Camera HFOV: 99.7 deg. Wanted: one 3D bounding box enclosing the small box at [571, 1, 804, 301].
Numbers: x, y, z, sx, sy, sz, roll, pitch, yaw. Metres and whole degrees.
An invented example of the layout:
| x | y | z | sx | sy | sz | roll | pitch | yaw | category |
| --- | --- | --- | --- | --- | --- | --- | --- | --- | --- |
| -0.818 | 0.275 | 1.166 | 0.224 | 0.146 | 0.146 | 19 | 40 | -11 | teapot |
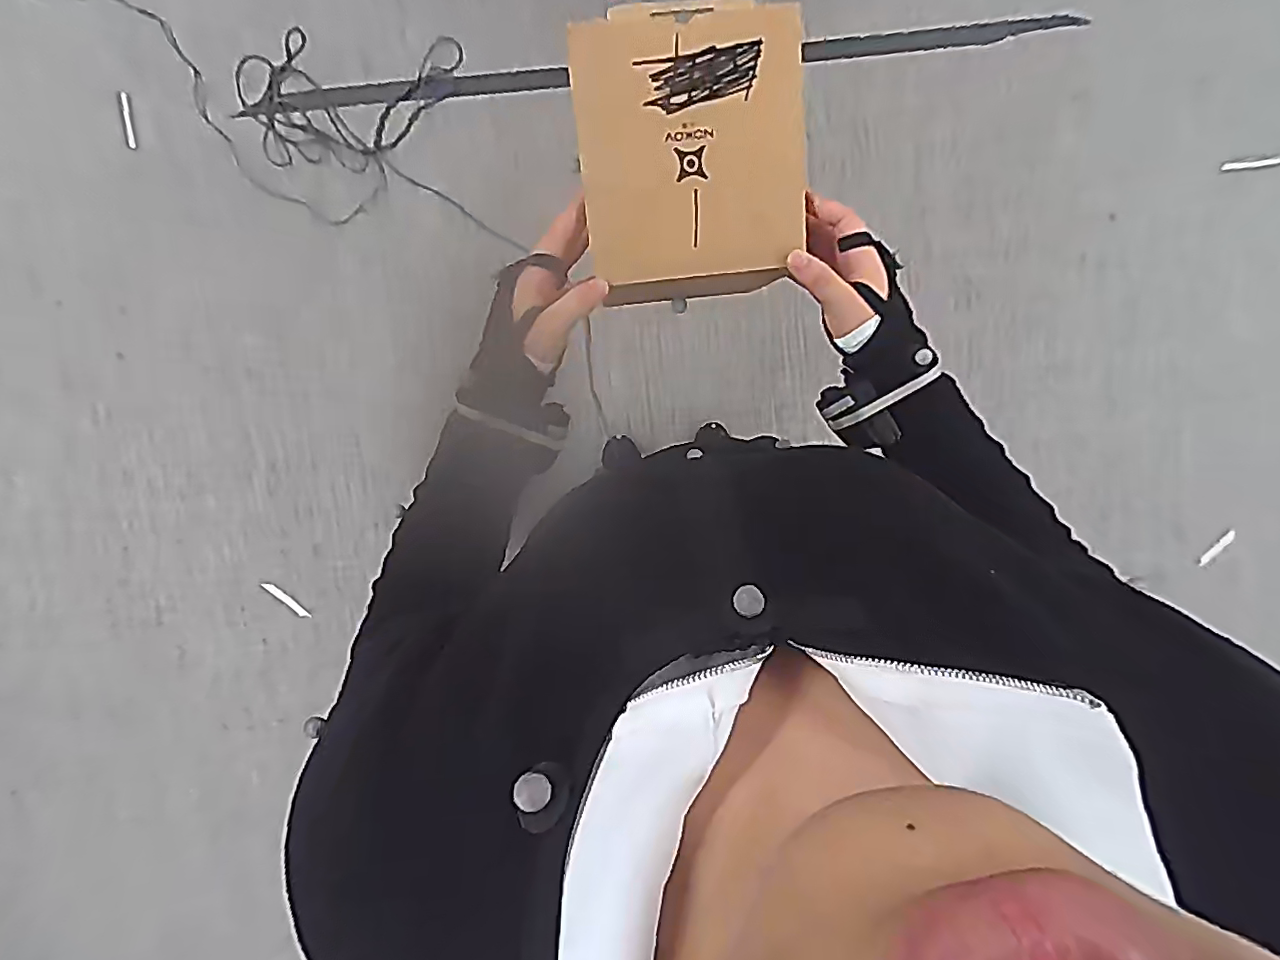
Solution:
| x | y | z | sx | sy | sz | roll | pitch | yaw | category |
| --- | --- | --- | --- | --- | --- | --- | --- | --- | --- |
| 0.035 | -0.264 | 0.477 | 0.168 | 0.176 | 0.179 | -6 | 103 | 0 | small box |
